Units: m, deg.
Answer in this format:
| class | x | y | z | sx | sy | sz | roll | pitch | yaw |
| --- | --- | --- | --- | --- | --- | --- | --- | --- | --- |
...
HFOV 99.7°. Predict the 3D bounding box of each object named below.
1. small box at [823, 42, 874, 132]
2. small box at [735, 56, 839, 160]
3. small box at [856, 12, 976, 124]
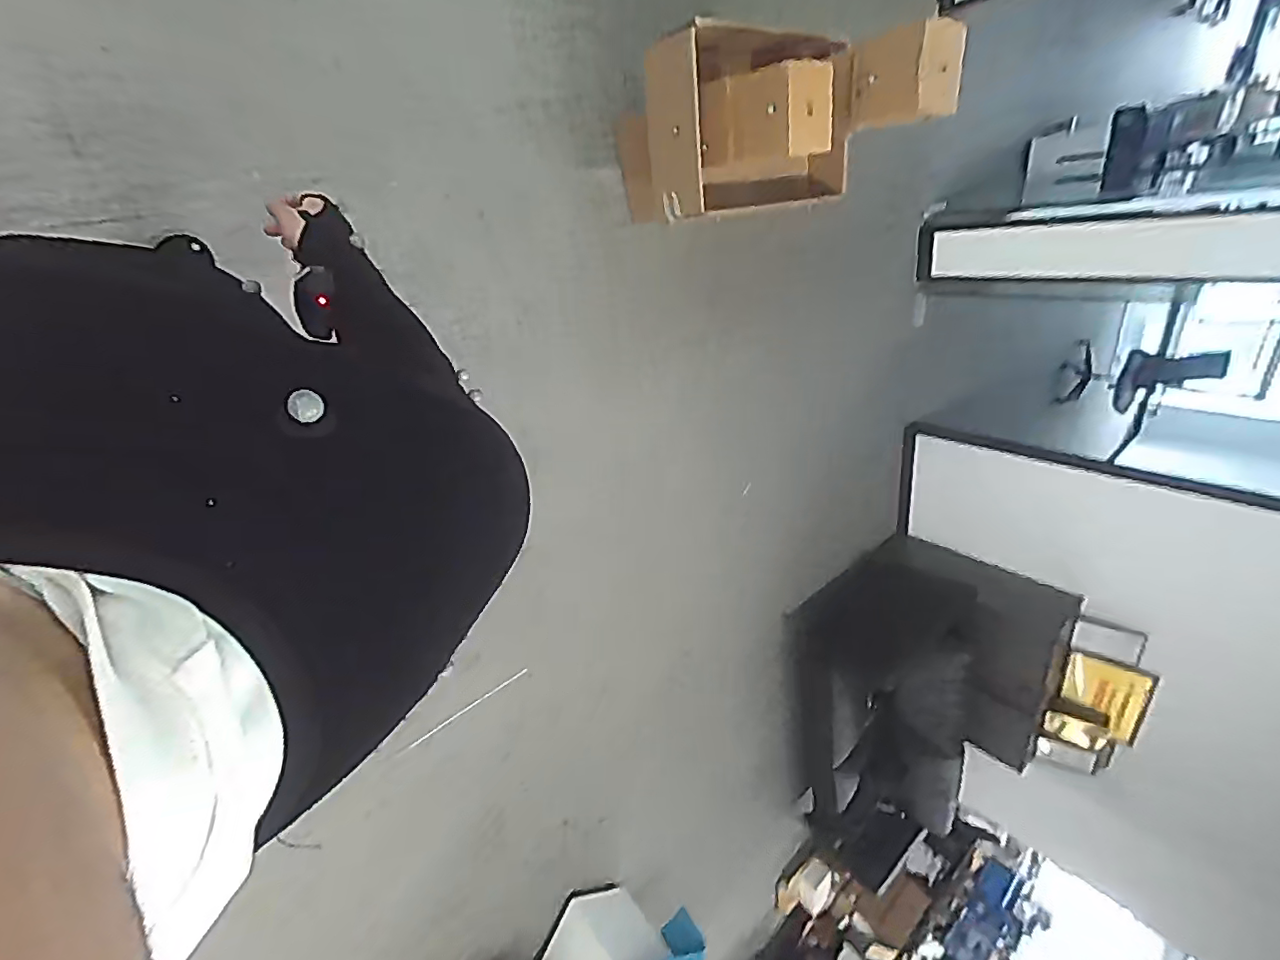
| class | x | y | z | sx | sy | sz | roll | pitch | yaw |
| --- | --- | --- | --- | --- | --- | --- | --- | --- | --- |
| small box | 0.538 | -0.983 | 1.362 | 0.179 | 0.176 | 0.168 | -29 | 124 | -26 |
| small box | 0.336 | -0.851 | 1.250 | 0.168 | 0.176 | 0.179 | -27 | 122 | -31 |
| small box | 0.623 | -0.926 | 1.231 | 0.179 | 0.176 | 0.168 | -22 | 119 | -30 |
